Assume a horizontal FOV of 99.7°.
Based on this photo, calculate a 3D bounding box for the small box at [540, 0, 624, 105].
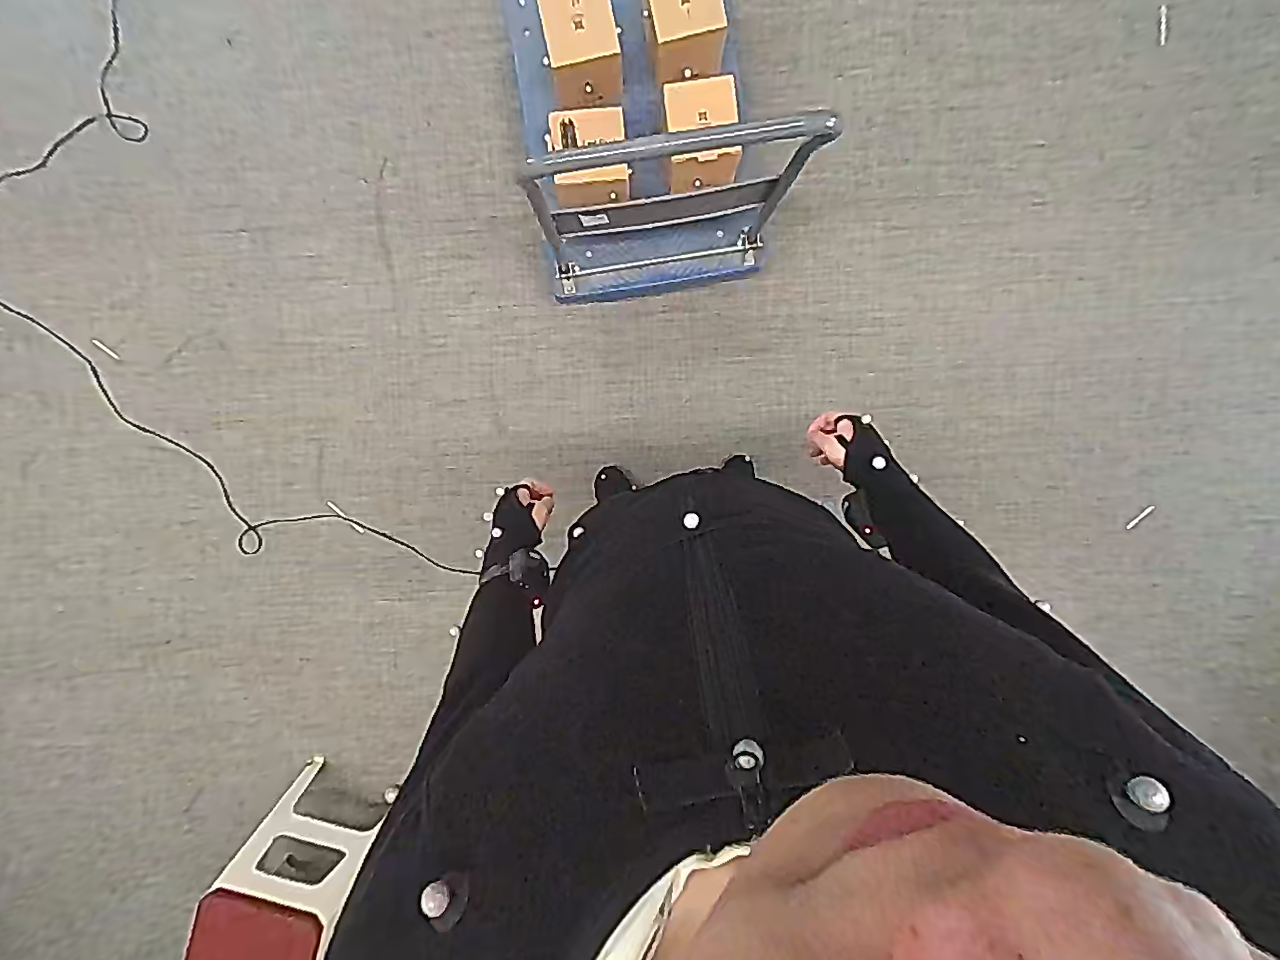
[{"bbox_3d":[-0.137,-1.064,1.331,0.168,0.176,0.179,-12,93,1],"label":"small box"}]

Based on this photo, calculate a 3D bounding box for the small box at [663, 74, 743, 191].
[{"bbox_3d":[0.150,-0.853,1.341,0.168,0.176,0.179,-8,94,1],"label":"small box"}]

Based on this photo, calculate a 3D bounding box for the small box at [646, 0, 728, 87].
[{"bbox_3d":[0.109,-1.119,1.324,0.168,0.176,0.179,-12,94,3],"label":"small box"}]
